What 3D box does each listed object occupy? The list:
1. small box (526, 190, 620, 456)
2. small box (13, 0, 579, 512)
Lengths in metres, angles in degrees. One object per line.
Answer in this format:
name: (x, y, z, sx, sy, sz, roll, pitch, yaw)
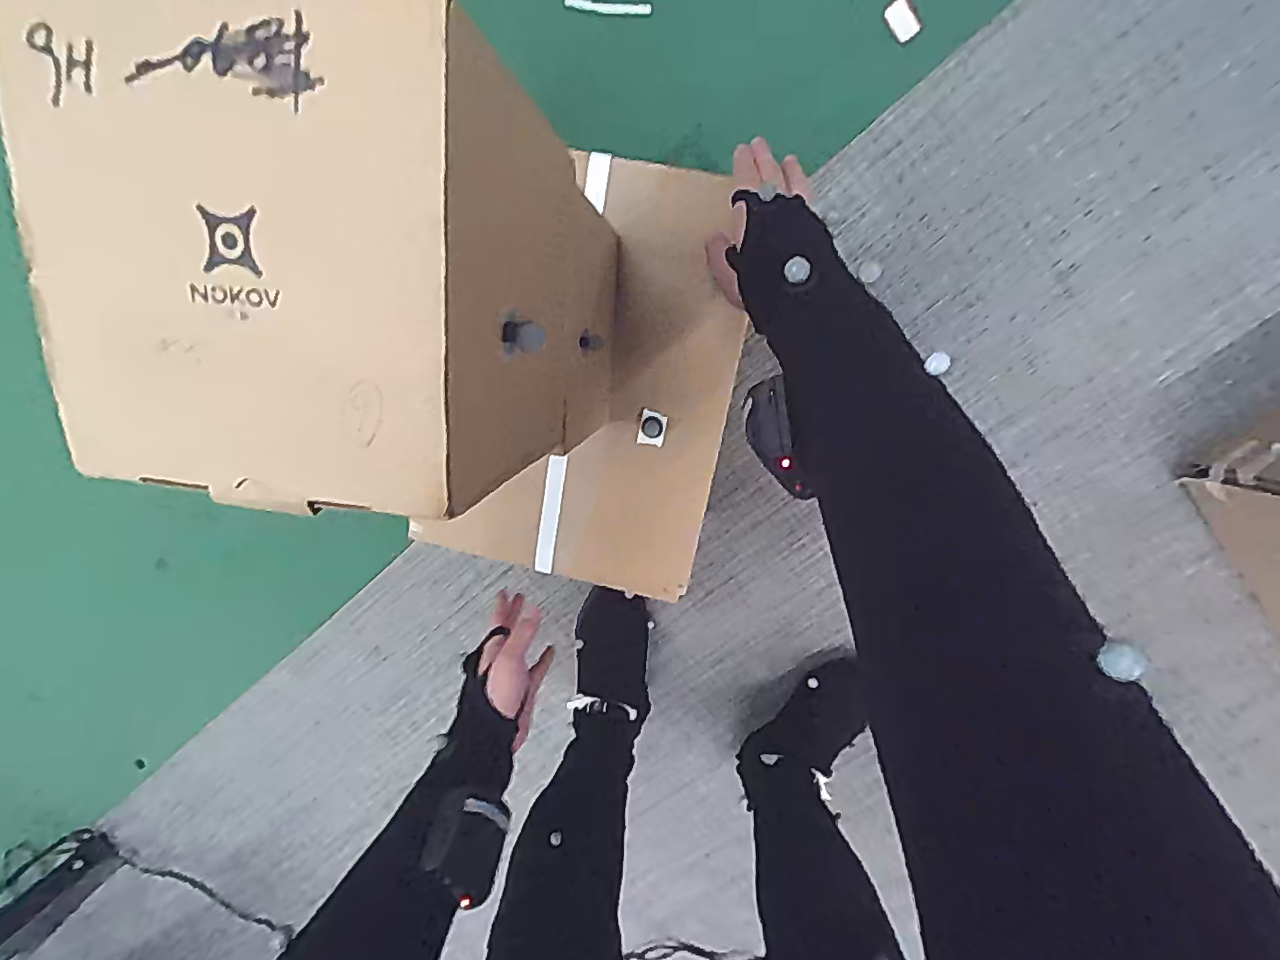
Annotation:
small box: (-0.112, -0.127, 0.438, 0.168, 0.176, 0.179, 6, 104, 6)
small box: (-0.131, -0.100, 0.277, 0.168, 0.176, 0.179, 6, 105, 6)
